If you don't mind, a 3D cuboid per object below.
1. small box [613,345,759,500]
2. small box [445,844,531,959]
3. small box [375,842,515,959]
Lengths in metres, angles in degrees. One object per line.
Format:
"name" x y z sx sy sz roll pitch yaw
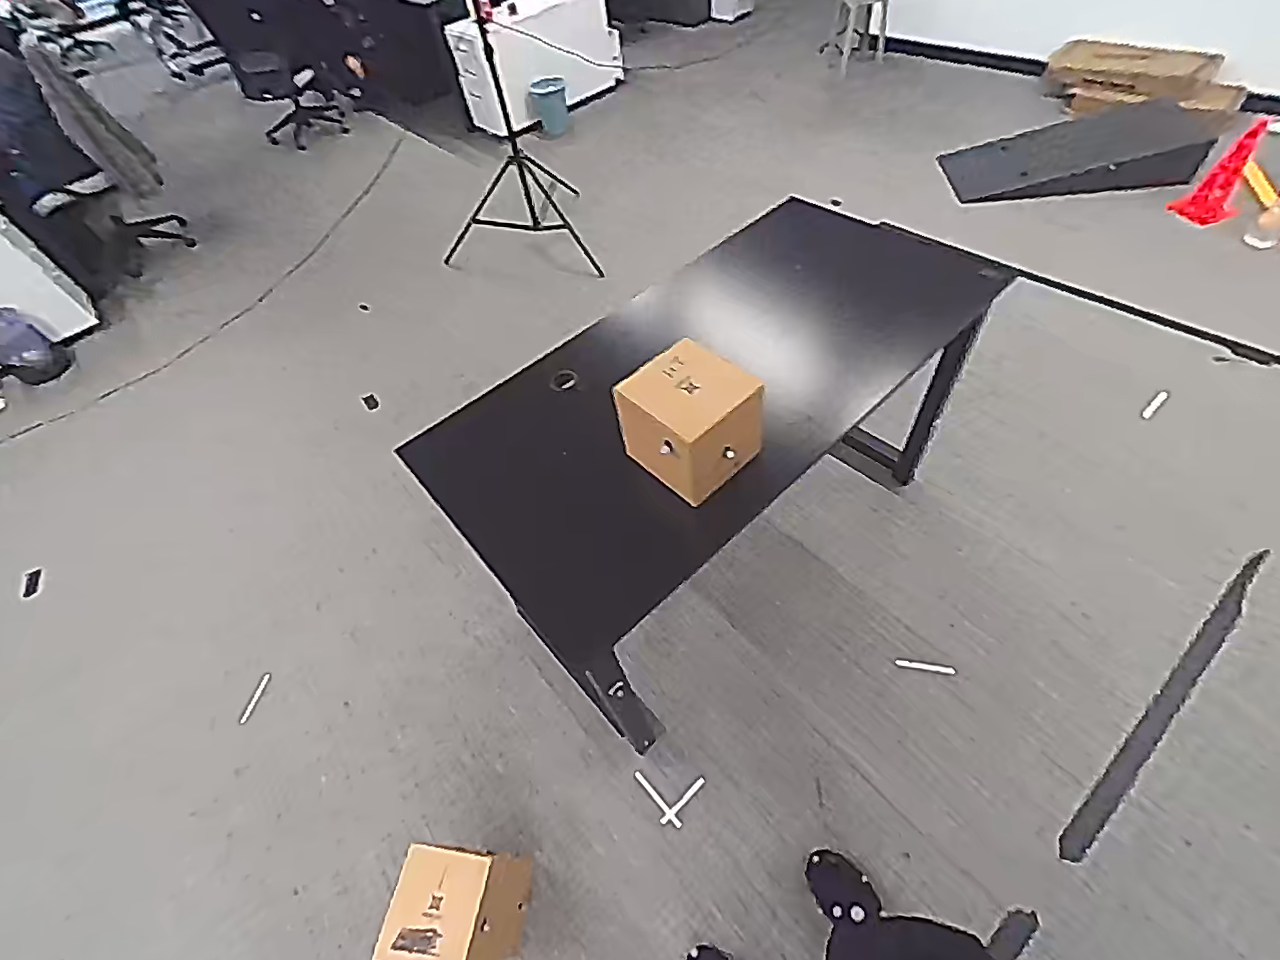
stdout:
"small box" 0.081 -0.090 0.917 0.168 0.176 0.179 -39 56 -20
"small box" -0.345 0.902 1.157 0.168 0.176 0.179 2 53 10
"small box" -0.353 0.806 1.021 0.168 0.176 0.179 3 54 11
